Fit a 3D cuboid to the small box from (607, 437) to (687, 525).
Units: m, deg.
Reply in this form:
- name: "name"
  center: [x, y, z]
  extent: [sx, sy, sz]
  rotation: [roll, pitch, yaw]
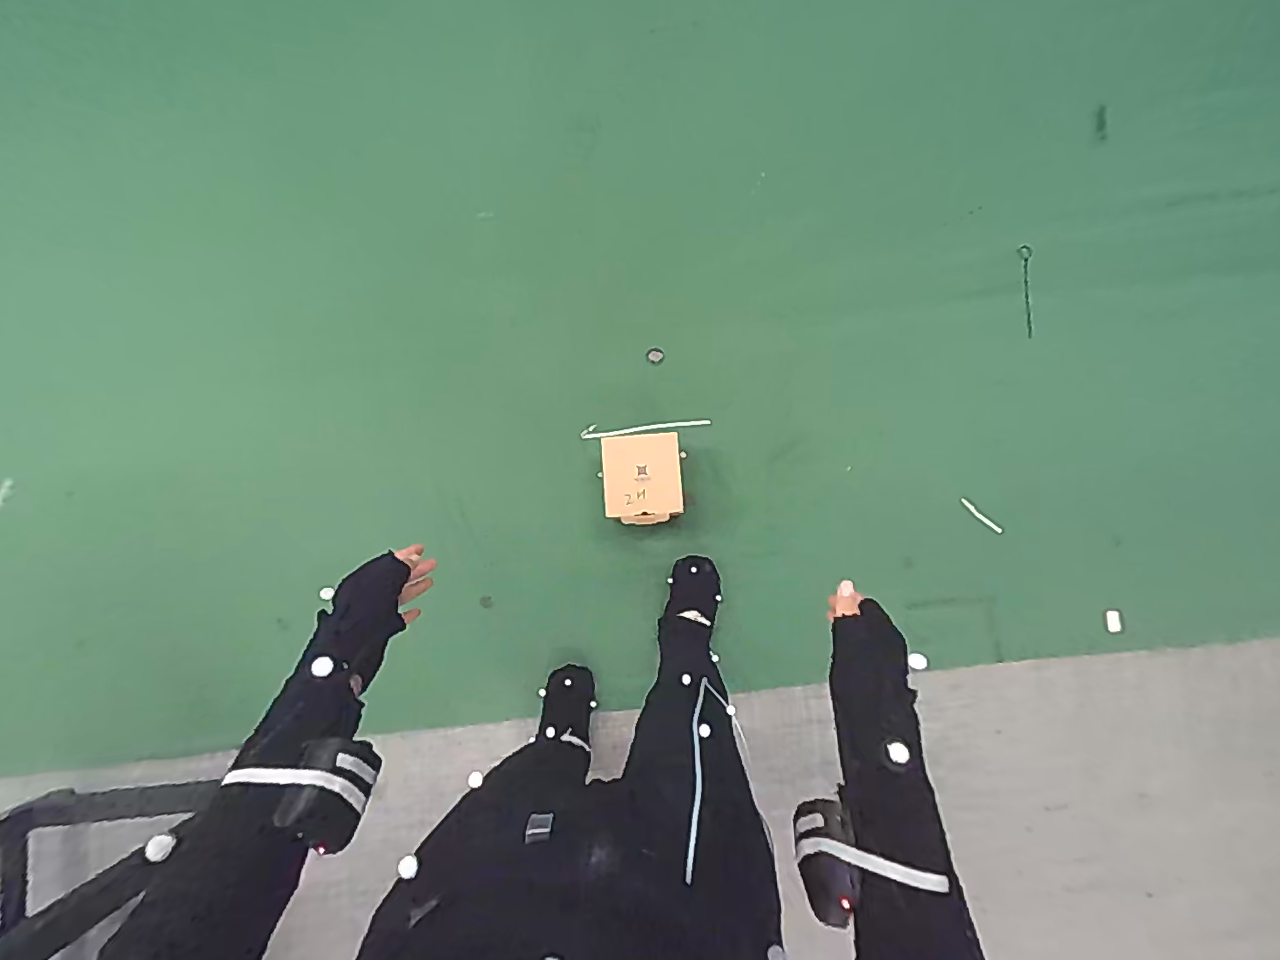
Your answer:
- name: "small box"
  center: [0.015, 0.009, 1.224]
  extent: [0.168, 0.176, 0.179]
  rotation: [-4, 84, 2]
